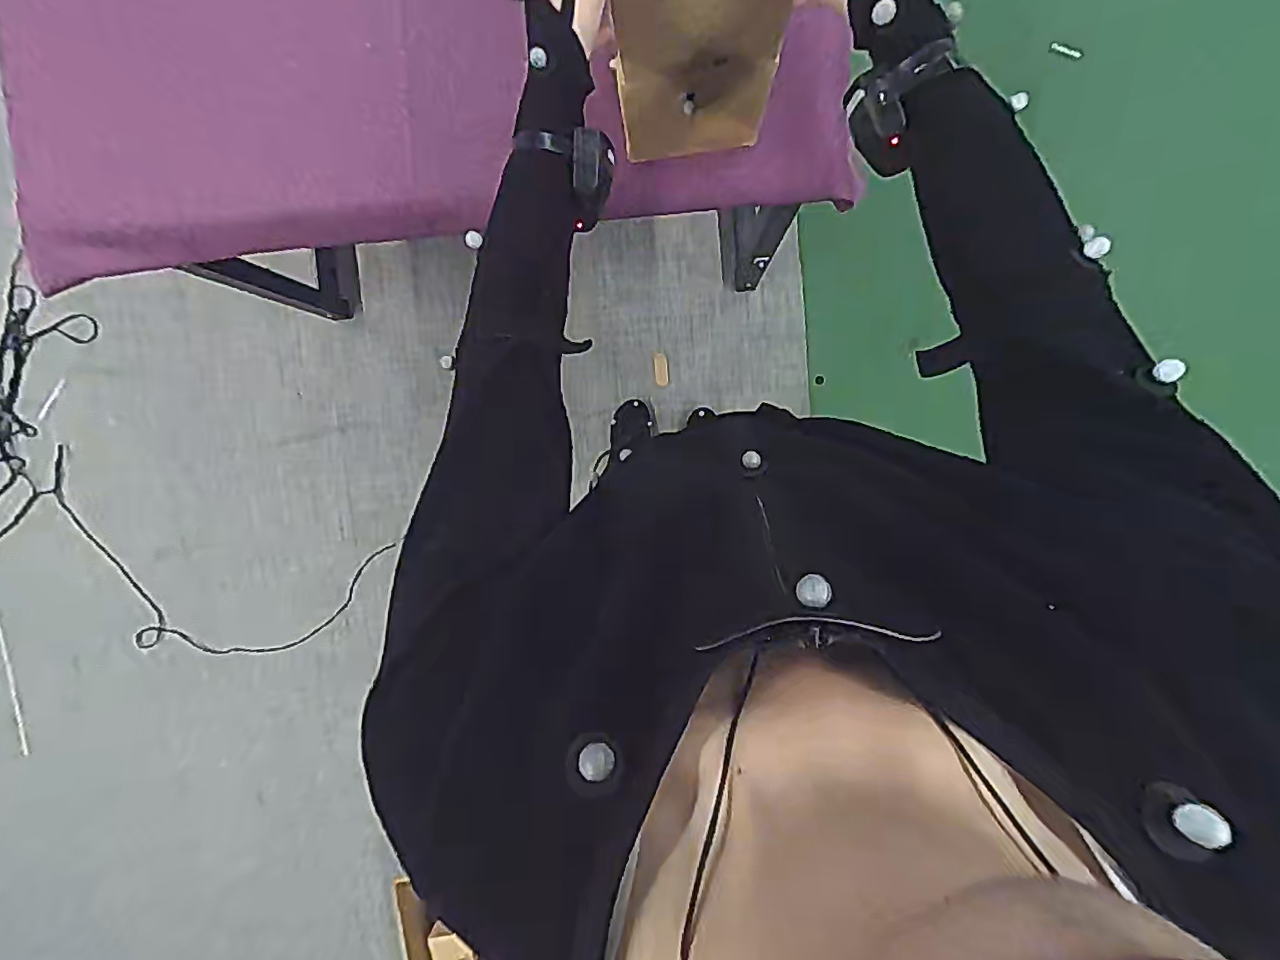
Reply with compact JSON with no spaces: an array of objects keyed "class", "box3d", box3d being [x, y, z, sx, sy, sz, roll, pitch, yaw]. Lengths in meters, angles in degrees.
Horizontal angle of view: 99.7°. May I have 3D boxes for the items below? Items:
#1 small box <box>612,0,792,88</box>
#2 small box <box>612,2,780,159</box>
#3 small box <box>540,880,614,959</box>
[{"class":"small box","box3d":[0.051,-0.512,0.496,0.168,0.176,0.179,-5,94,7]},{"class":"small box","box3d":[0.064,-0.525,0.659,0.179,0.176,0.168,-6,95,7]},{"class":"small box","box3d":[-0.174,1.266,1.520,0.179,0.176,0.168,-10,92,8]}]
